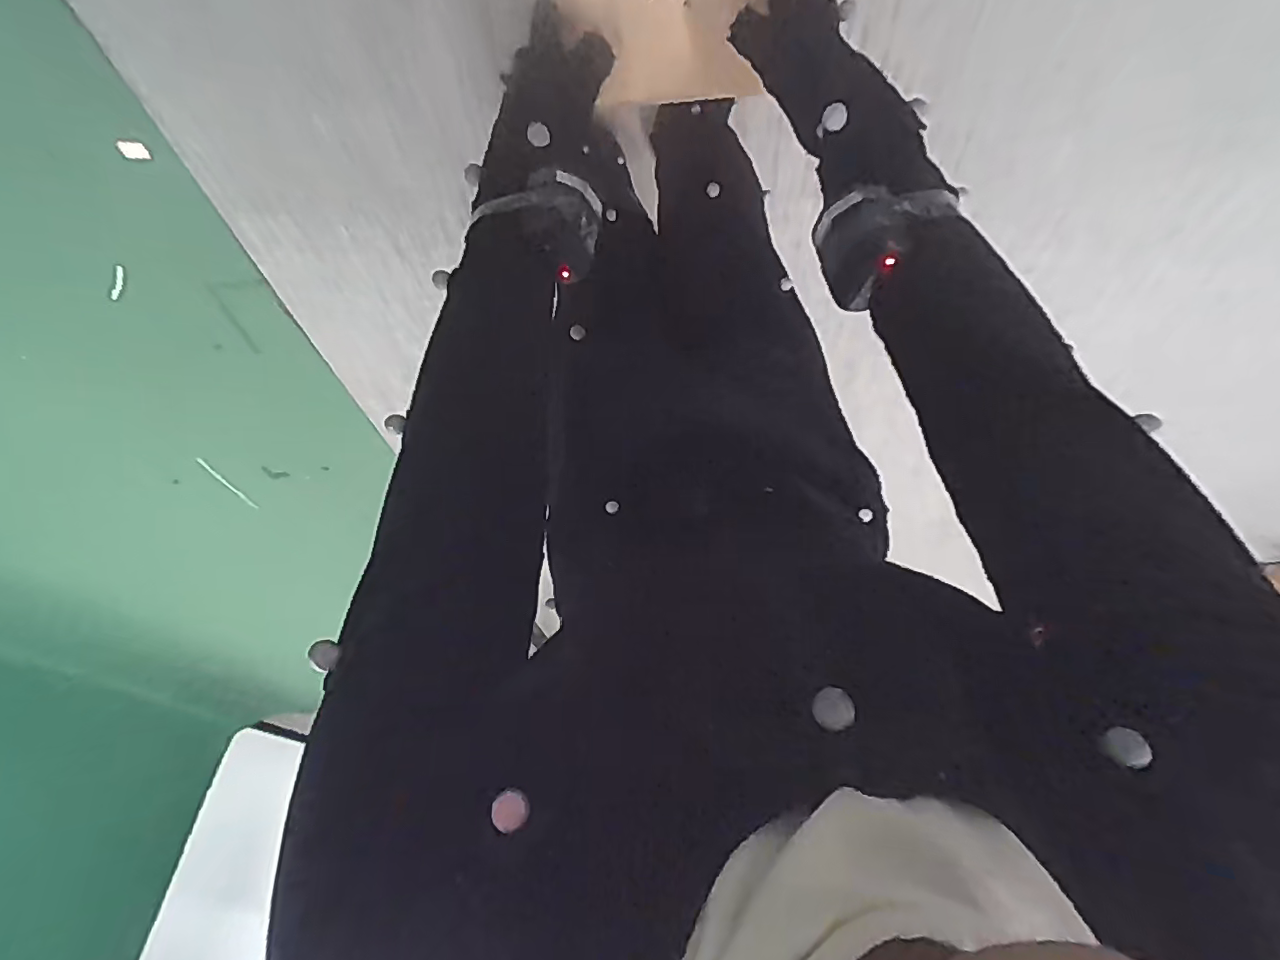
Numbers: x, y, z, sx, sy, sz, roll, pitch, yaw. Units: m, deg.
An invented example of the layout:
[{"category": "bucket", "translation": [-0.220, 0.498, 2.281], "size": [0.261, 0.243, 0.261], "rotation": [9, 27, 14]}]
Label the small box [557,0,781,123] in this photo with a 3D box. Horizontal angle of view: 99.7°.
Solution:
[{"category": "small box", "translation": [0.023, -0.437, 0.466], "size": [0.179, 0.176, 0.168], "rotation": [-2, 140, 5]}]
